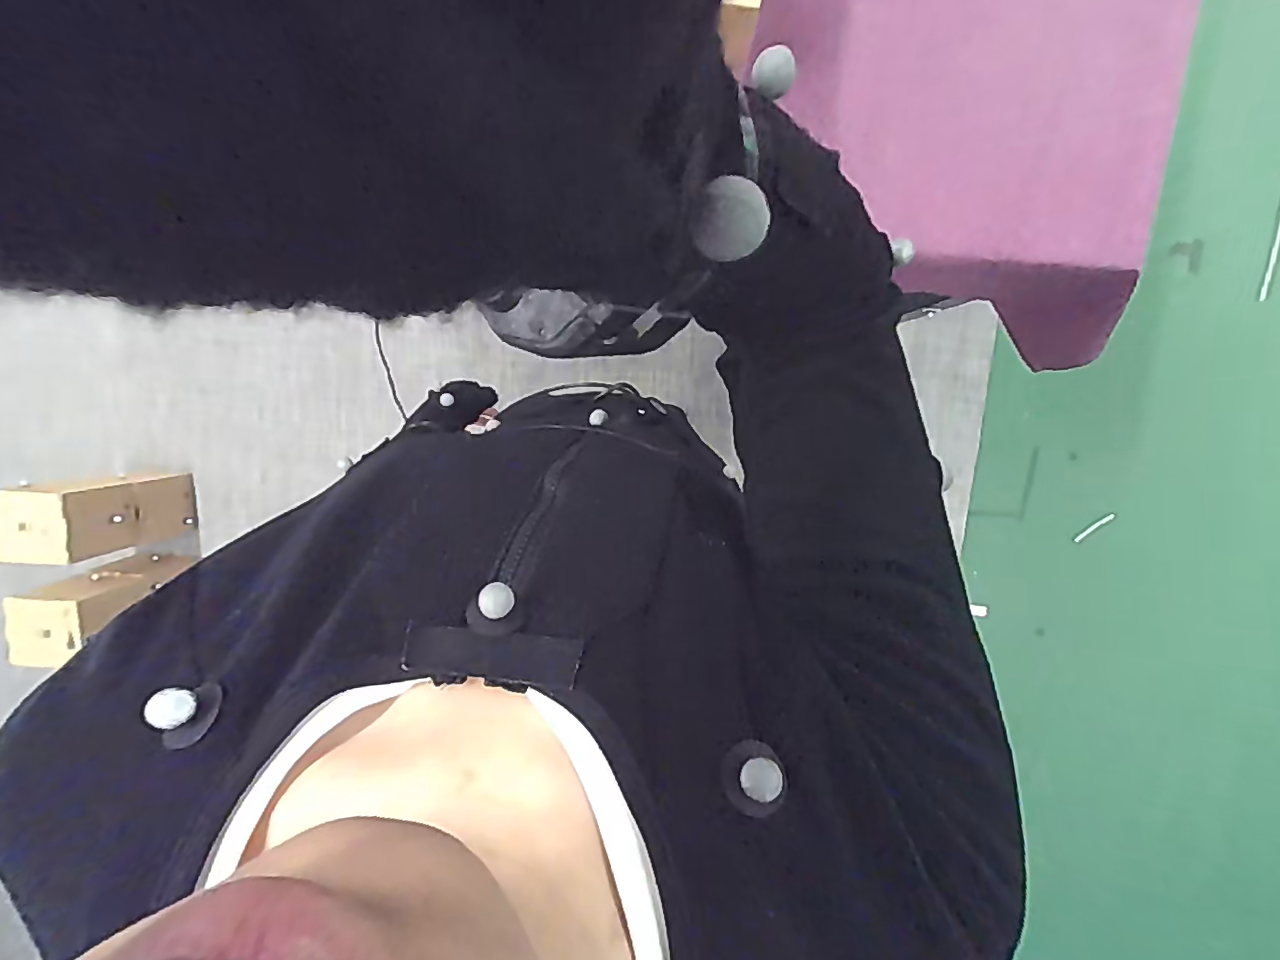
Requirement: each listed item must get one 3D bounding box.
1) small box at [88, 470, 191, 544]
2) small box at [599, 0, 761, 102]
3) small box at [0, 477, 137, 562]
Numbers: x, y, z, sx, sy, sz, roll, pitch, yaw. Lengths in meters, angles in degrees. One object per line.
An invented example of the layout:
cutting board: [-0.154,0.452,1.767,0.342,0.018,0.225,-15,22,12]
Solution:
small box: [-1.342,0.065,1.440,0.179,0.176,0.168,2,98,2]
small box: [0.049,-0.551,0.576,0.168,0.176,0.179,9,99,1]
small box: [-1.354,0.087,1.278,0.179,0.176,0.168,3,99,1]
